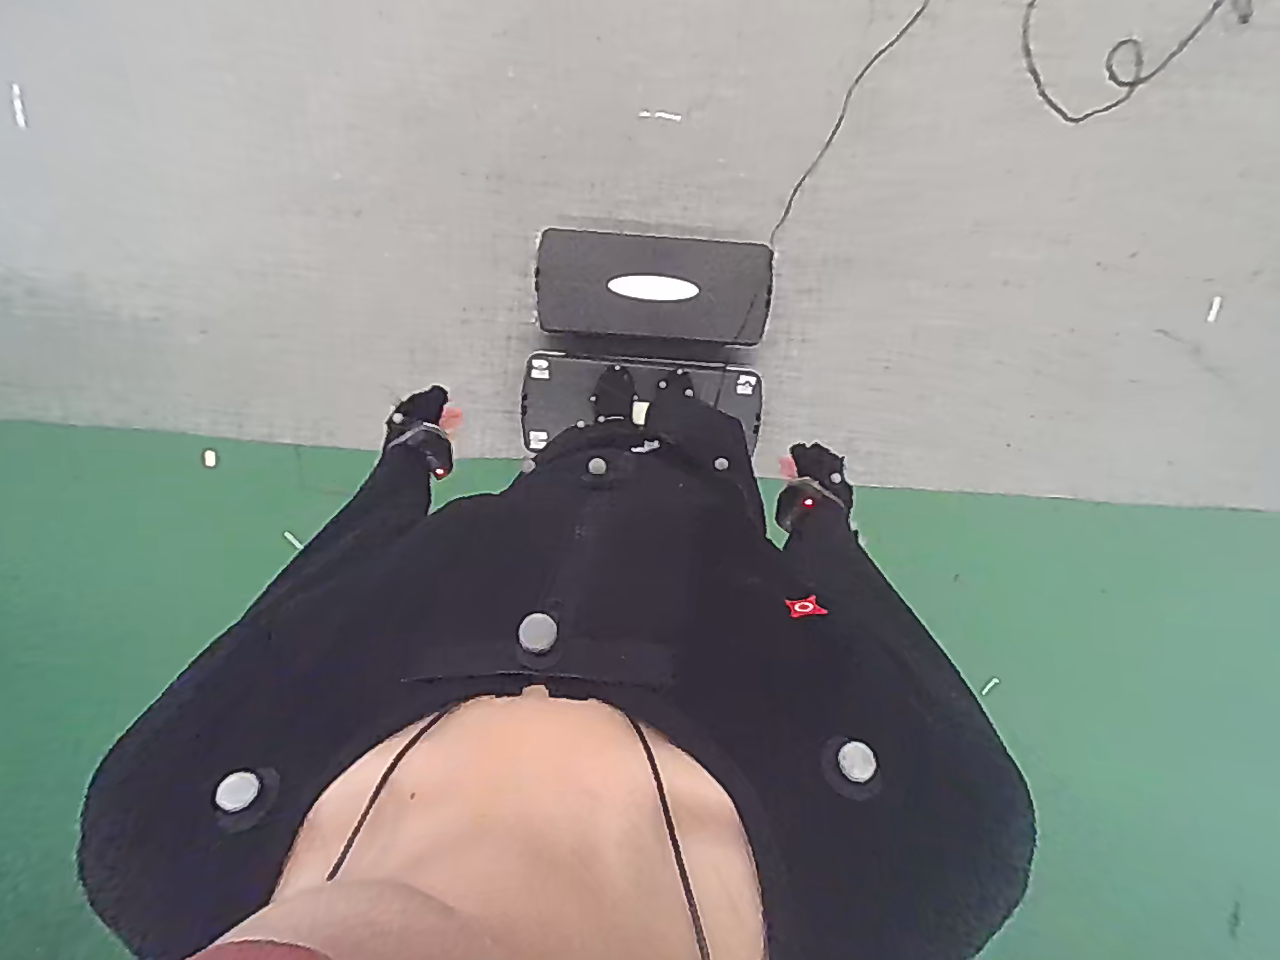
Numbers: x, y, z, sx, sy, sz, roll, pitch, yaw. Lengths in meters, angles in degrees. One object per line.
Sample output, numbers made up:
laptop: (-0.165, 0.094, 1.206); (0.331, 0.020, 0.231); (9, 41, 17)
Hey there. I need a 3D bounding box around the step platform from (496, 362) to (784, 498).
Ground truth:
step platform: (-0.001, -0.132, 1.370); (0.684, 0.204, 0.286); (4, 102, -3)
